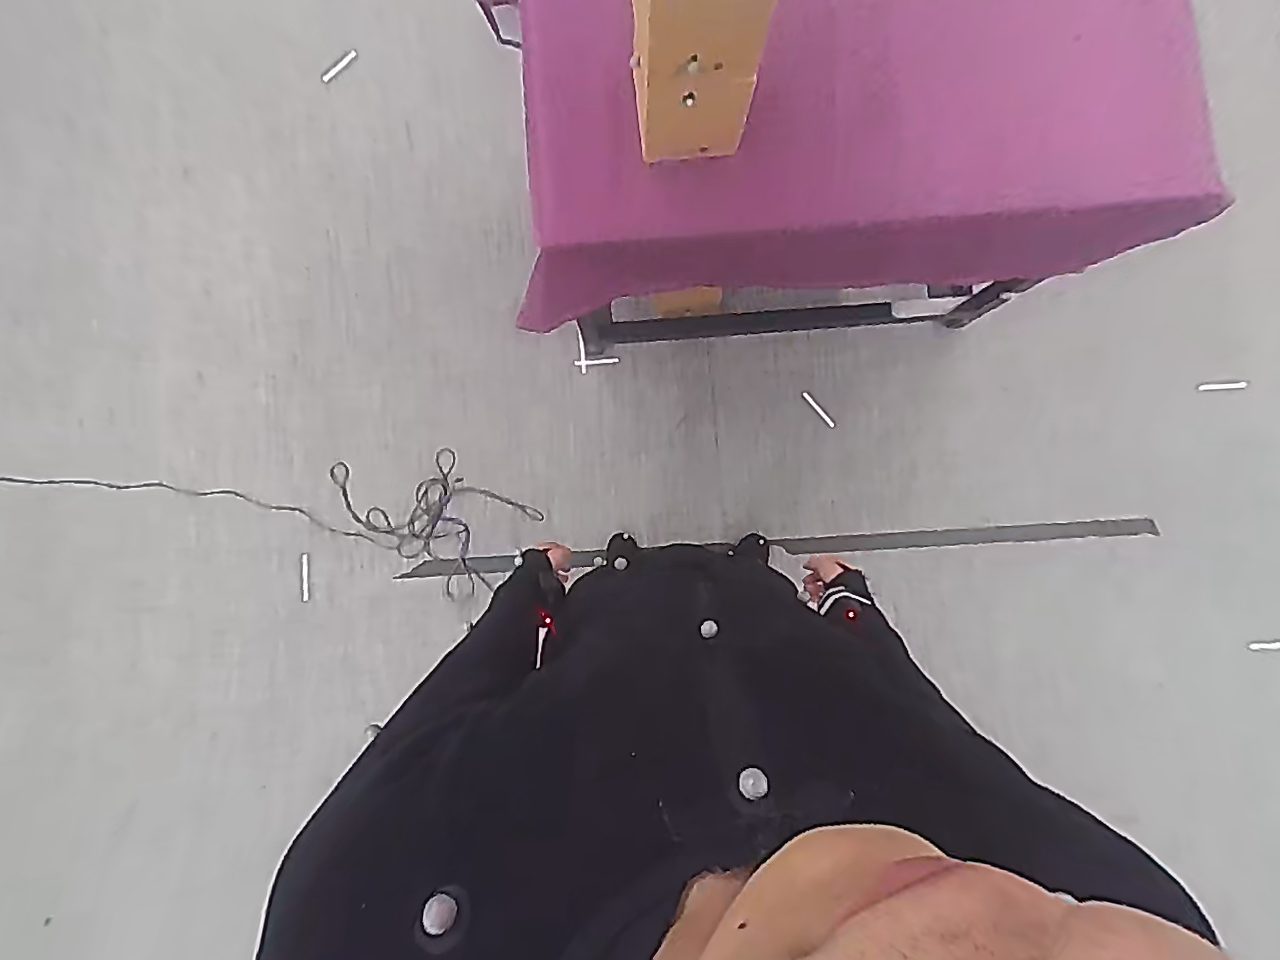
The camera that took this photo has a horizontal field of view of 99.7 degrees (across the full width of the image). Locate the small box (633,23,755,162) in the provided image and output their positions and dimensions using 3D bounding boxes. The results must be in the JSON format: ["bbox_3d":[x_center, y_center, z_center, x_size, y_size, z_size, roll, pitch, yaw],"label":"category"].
[{"bbox_3d":[0.078,-0.657,0.877,0.168,0.176,0.179,-6,86,-1],"label":"small box"}]

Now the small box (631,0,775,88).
[{"bbox_3d":[0.076,-0.669,0.714,0.168,0.176,0.179,-8,87,-1],"label":"small box"}]
